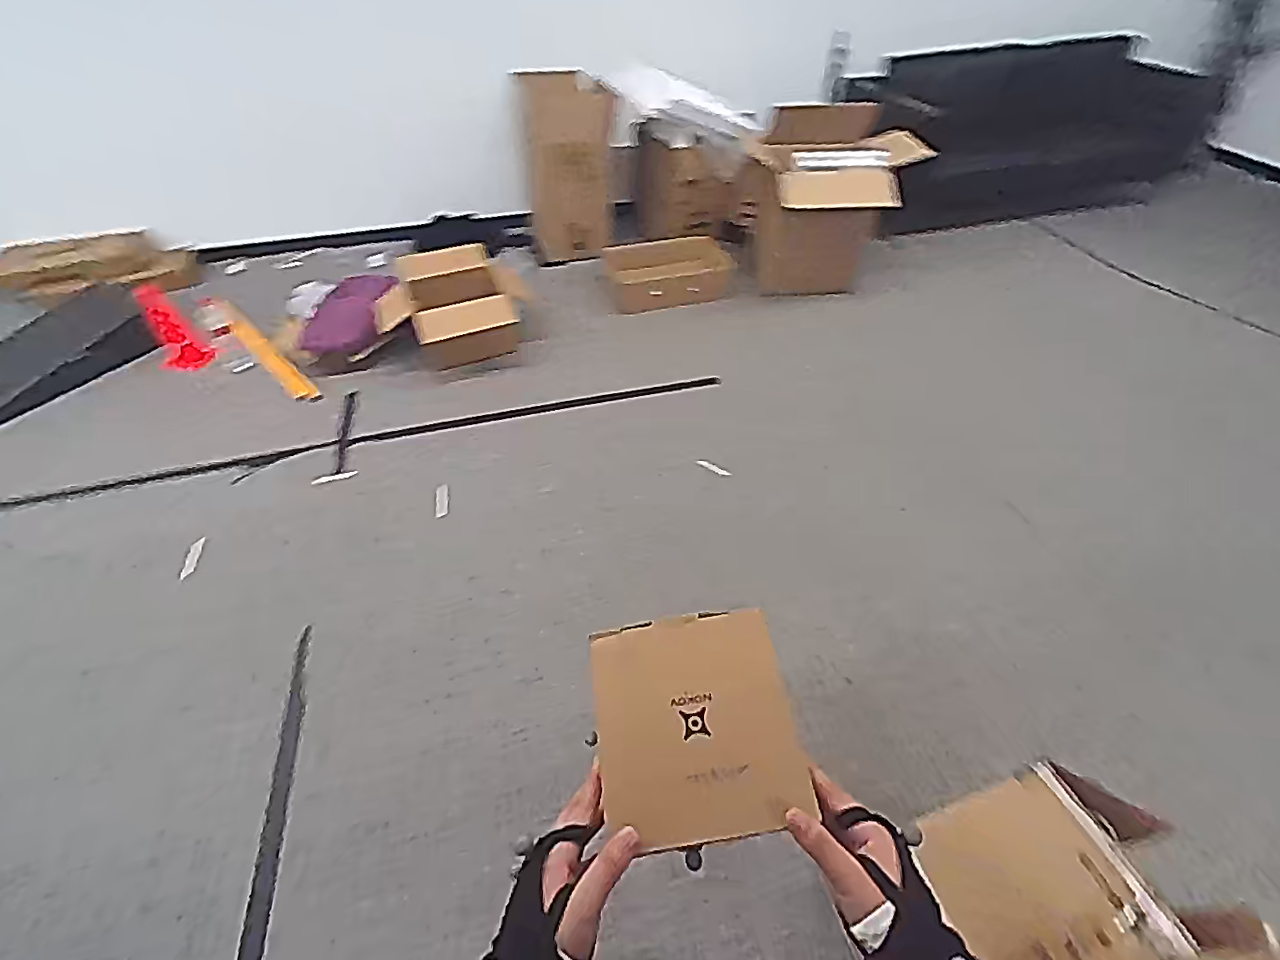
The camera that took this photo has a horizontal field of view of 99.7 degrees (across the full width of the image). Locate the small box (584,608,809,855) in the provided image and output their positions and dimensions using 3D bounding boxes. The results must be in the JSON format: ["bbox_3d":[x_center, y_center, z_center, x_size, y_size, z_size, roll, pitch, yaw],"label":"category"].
[{"bbox_3d":[0.040,0.248,0.526,0.168,0.176,0.179,-9,56,-4],"label":"small box"}]

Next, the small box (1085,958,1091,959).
[{"bbox_3d":[0.587,0.695,0.623,0.168,0.176,0.179,-19,51,-12],"label":"small box"}]

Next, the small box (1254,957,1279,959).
[{"bbox_3d":[0.572,0.586,0.498,0.168,0.176,0.179,-20,51,-12],"label":"small box"}]
